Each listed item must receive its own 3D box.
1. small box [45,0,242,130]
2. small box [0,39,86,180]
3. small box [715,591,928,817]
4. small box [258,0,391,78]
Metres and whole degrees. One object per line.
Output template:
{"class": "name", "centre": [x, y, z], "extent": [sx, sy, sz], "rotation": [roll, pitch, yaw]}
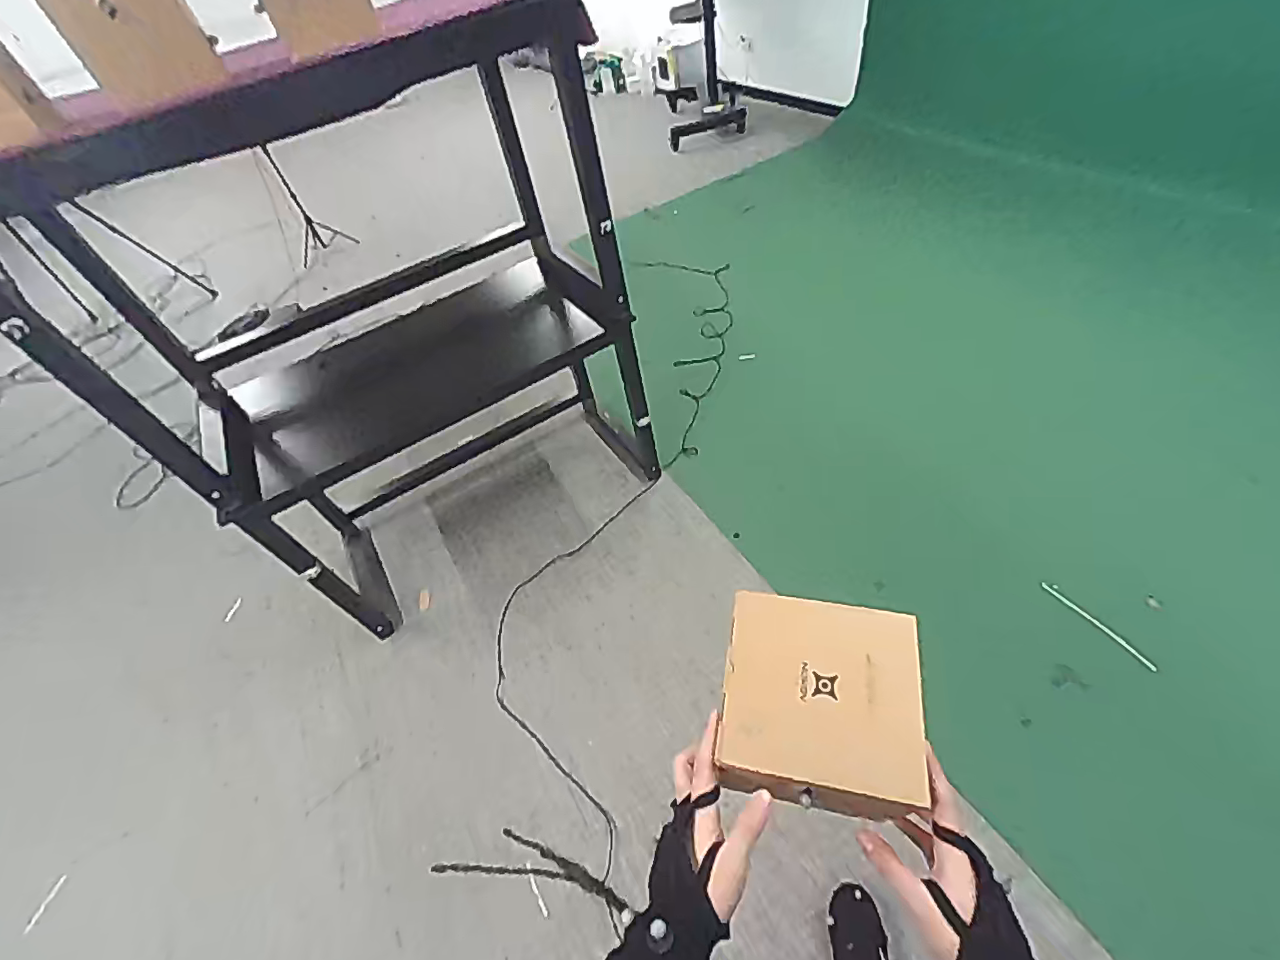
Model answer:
{"class": "small box", "centre": [-0.834, -0.732, 0.931], "extent": [0.179, 0.176, 0.168], "rotation": [-29, 49, -12]}
{"class": "small box", "centre": [-1.066, -0.588, 0.864], "extent": [0.179, 0.176, 0.168], "rotation": [-29, 49, -13]}
{"class": "small box", "centre": [0.178, 0.236, 0.563], "extent": [0.179, 0.176, 0.168], "rotation": [6, 56, 14]}
{"class": "small box", "centre": [-0.594, -0.872, 0.995], "extent": [0.179, 0.176, 0.168], "rotation": [-29, 49, -11]}
